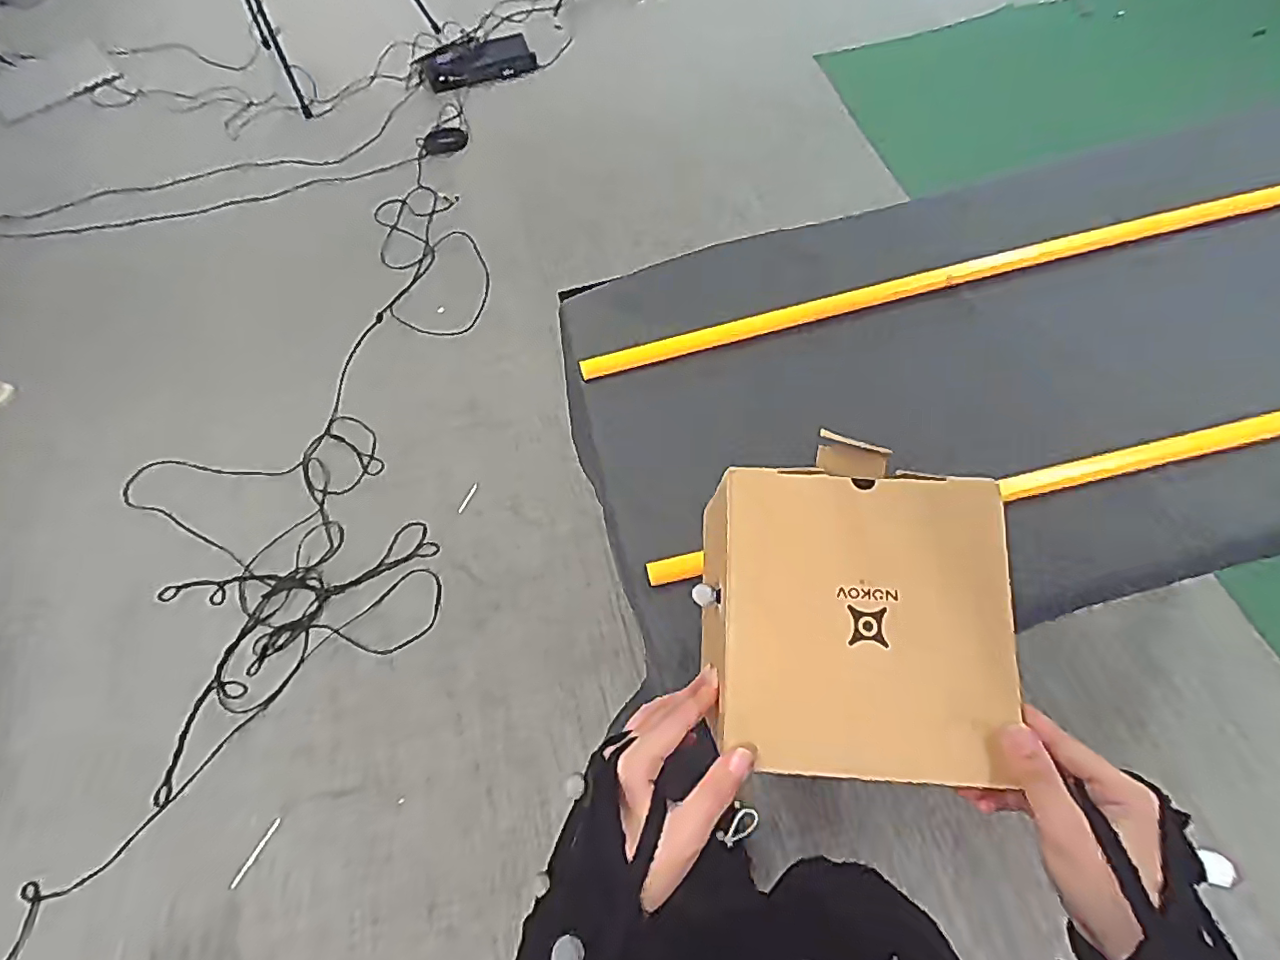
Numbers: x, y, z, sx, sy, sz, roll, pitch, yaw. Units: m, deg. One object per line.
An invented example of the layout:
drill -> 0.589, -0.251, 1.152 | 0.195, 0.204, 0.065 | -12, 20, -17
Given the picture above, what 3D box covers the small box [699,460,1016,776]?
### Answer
small box -> 0.132, 0.092, 0.395 | 0.168, 0.176, 0.179 | 2, 77, 3
